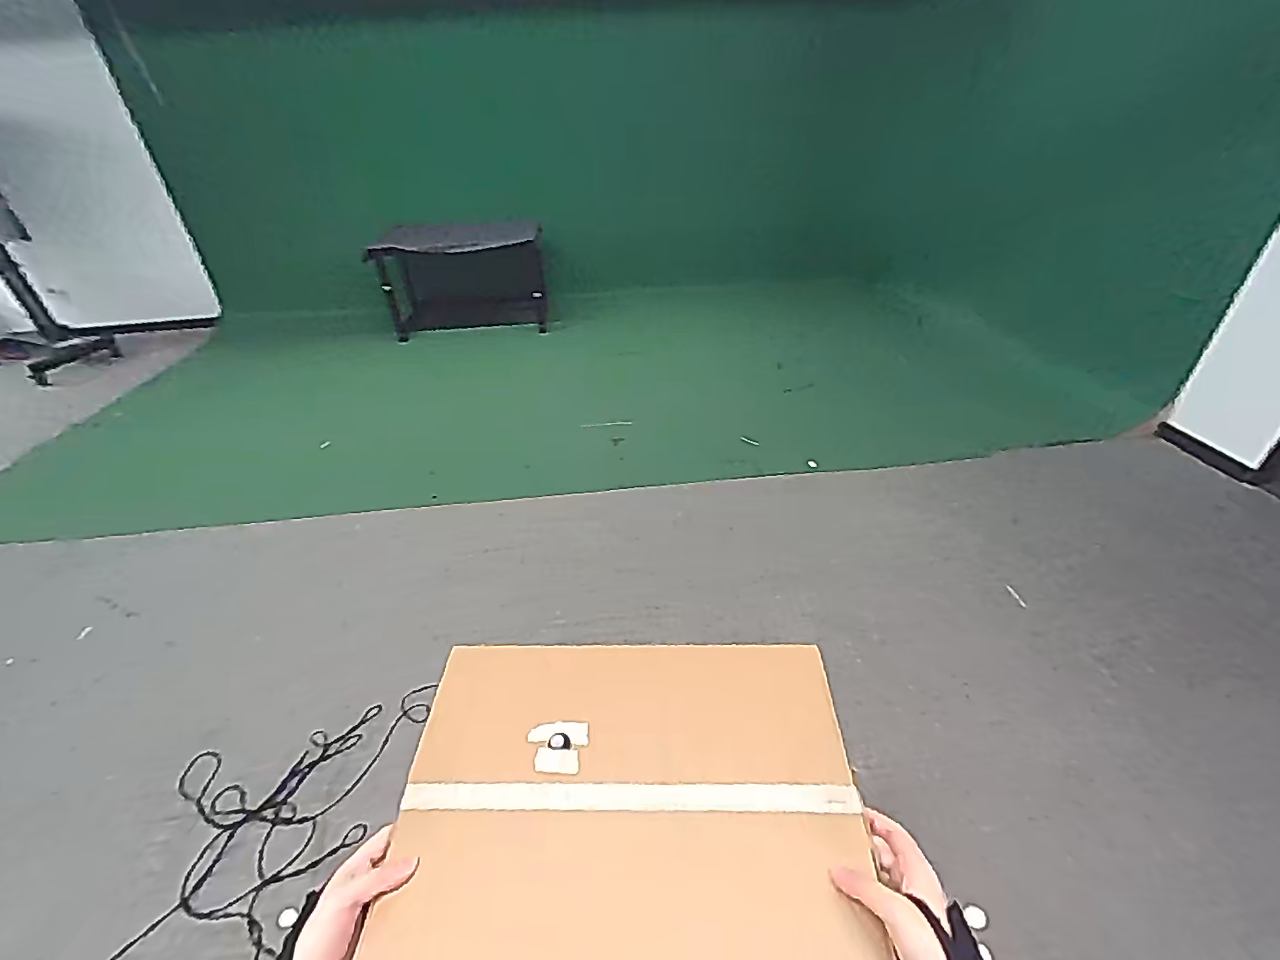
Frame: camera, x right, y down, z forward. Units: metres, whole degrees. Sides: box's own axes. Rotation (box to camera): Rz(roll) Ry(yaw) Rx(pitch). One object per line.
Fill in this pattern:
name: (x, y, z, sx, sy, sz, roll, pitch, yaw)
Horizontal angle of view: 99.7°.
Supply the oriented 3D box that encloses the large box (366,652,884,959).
large box: (-0.003, 0.412, 0.583, 0.408, 0.320, 0.320, -3, 40, 4)
